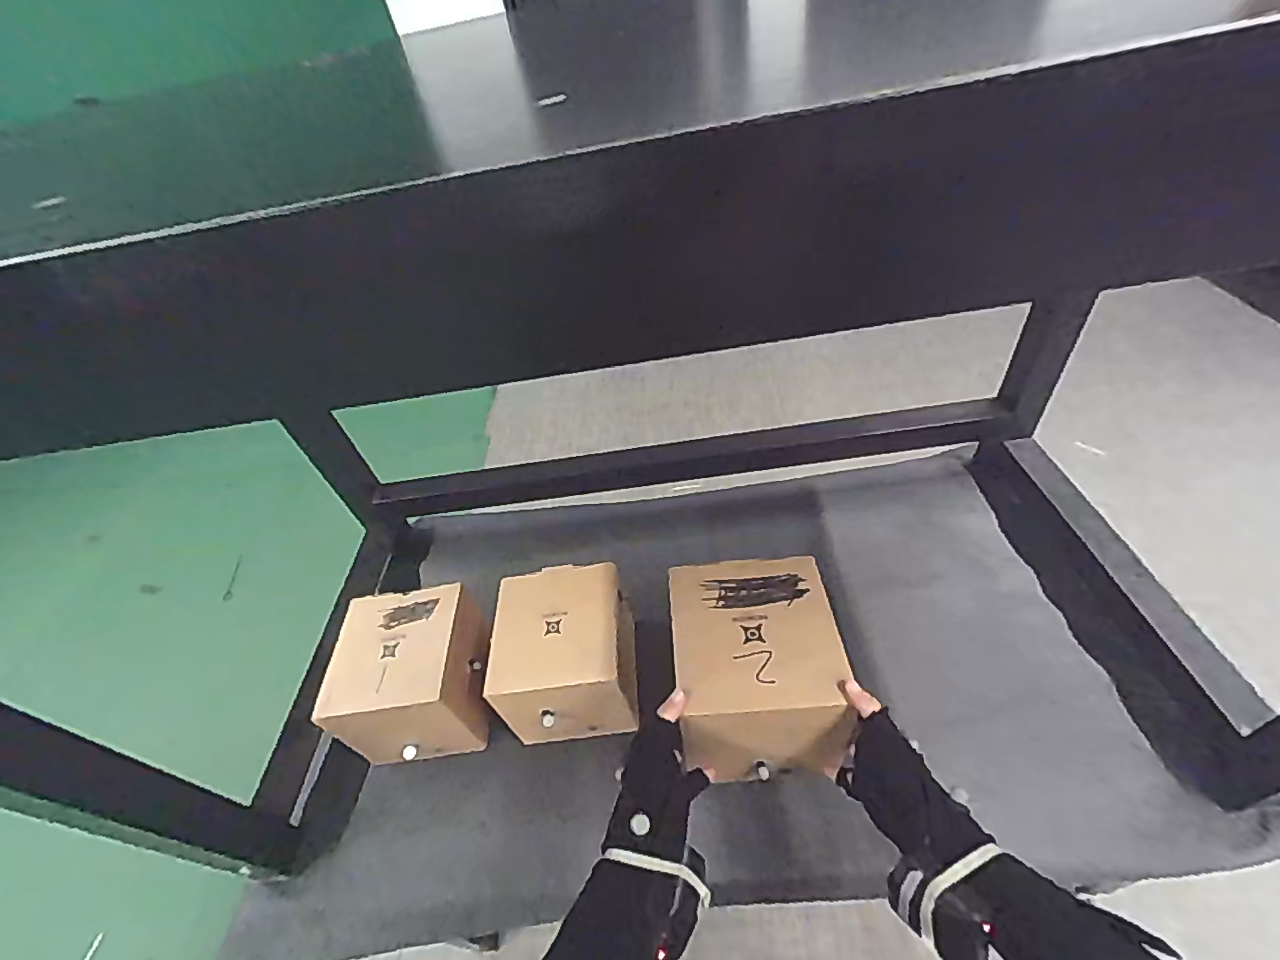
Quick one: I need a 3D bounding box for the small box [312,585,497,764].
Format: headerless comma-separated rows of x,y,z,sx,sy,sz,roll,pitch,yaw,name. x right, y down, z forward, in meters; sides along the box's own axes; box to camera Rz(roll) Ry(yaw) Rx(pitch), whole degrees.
-0.316,0.277,0.771,0.168,0.176,0.179,-10,44,4,small box
